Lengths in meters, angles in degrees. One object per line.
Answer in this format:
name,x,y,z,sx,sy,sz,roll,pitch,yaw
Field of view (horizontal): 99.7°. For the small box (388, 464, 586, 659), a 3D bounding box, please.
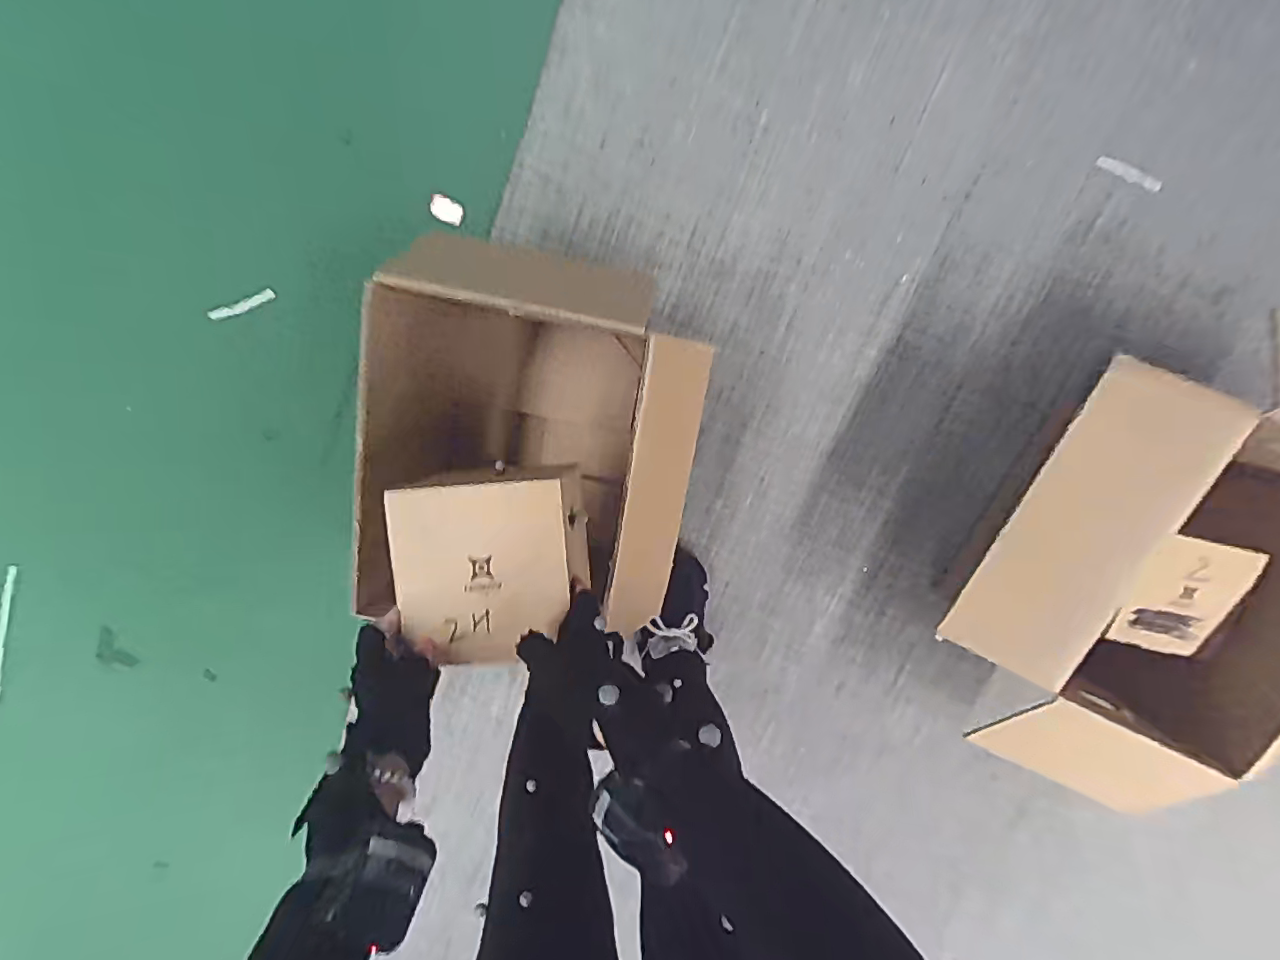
small box,-0.152,0.074,0.593,0.168,0.176,0.179,-3,97,0
